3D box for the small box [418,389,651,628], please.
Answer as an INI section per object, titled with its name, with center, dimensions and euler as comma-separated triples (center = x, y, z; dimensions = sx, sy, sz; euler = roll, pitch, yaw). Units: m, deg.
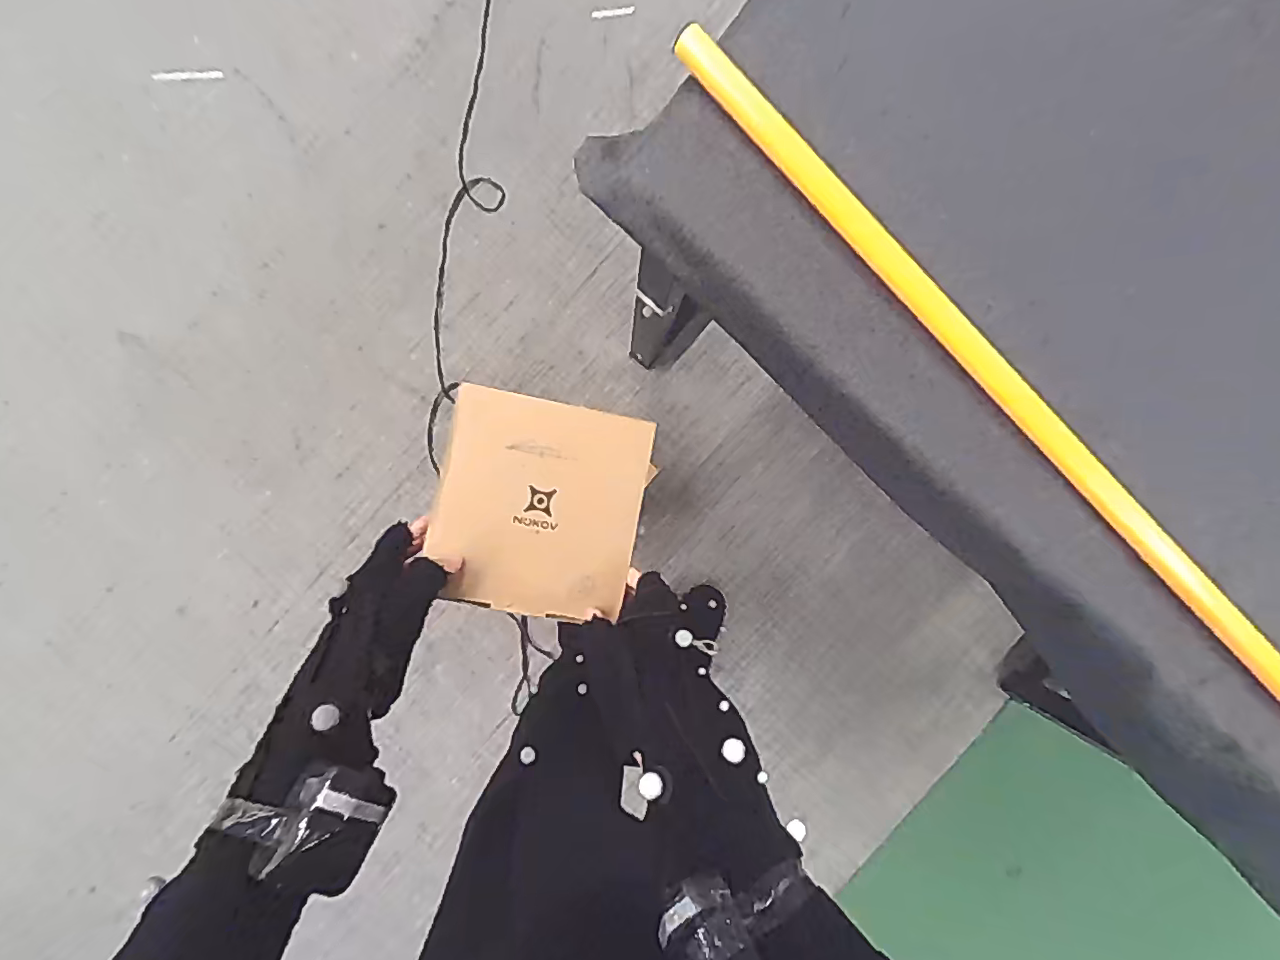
[small box]
center = -0.095, 0.031, 0.530
dimensions = 0.168, 0.176, 0.179
euler = 12, 83, -8
